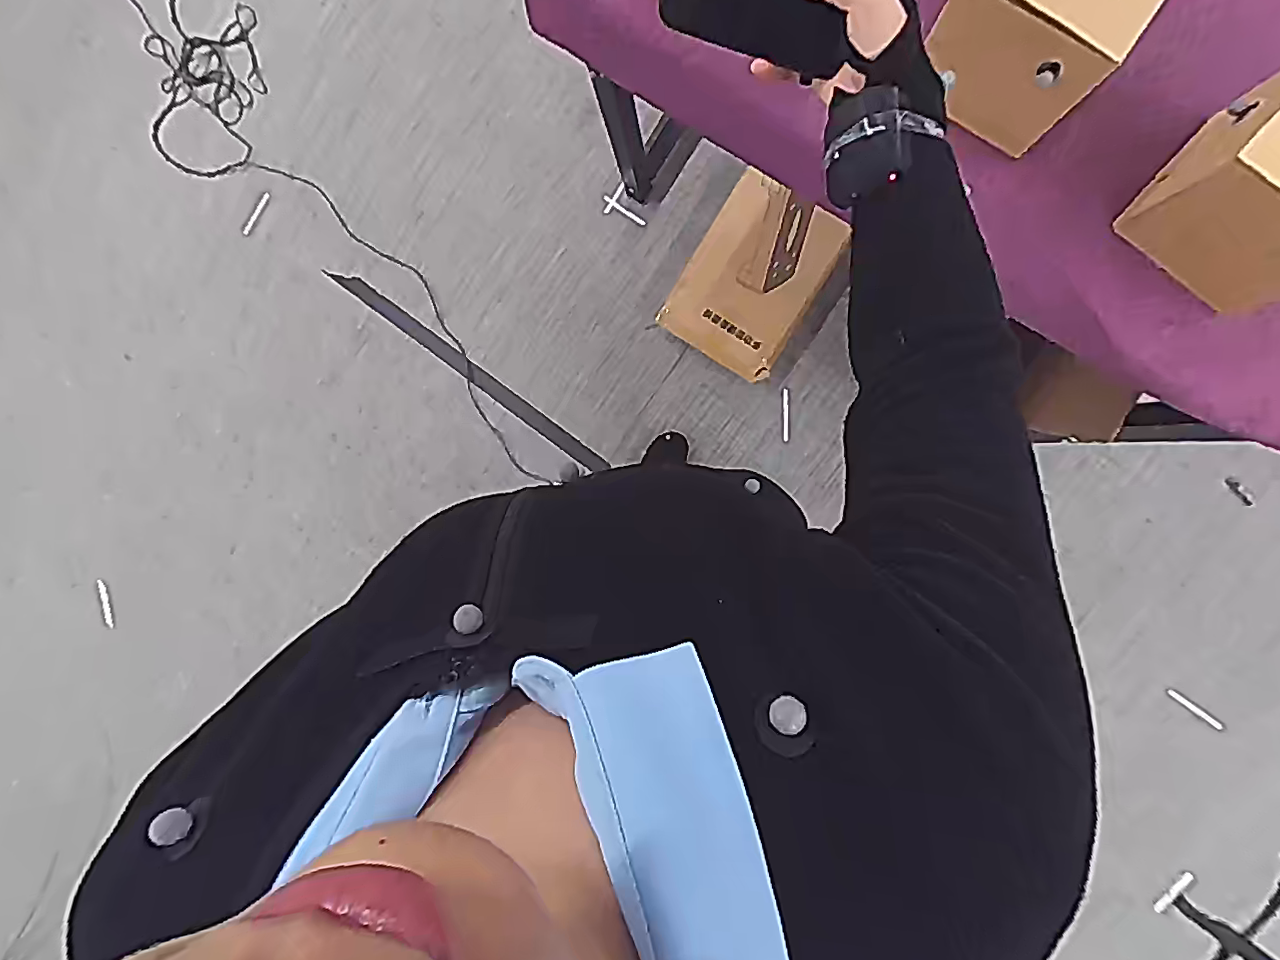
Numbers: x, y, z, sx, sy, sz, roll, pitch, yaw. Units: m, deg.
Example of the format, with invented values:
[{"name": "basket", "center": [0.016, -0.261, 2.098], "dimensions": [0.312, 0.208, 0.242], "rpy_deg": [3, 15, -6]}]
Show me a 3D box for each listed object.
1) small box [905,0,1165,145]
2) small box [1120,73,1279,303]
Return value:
[{"name": "small box", "center": [0.435, -0.511, 0.590], "dimensions": [0.179, 0.176, 0.168], "rpy_deg": [33, 94, 4]}, {"name": "small box", "center": [0.687, -0.316, 0.574], "dimensions": [0.179, 0.176, 0.168], "rpy_deg": [40, 97, 2]}]
